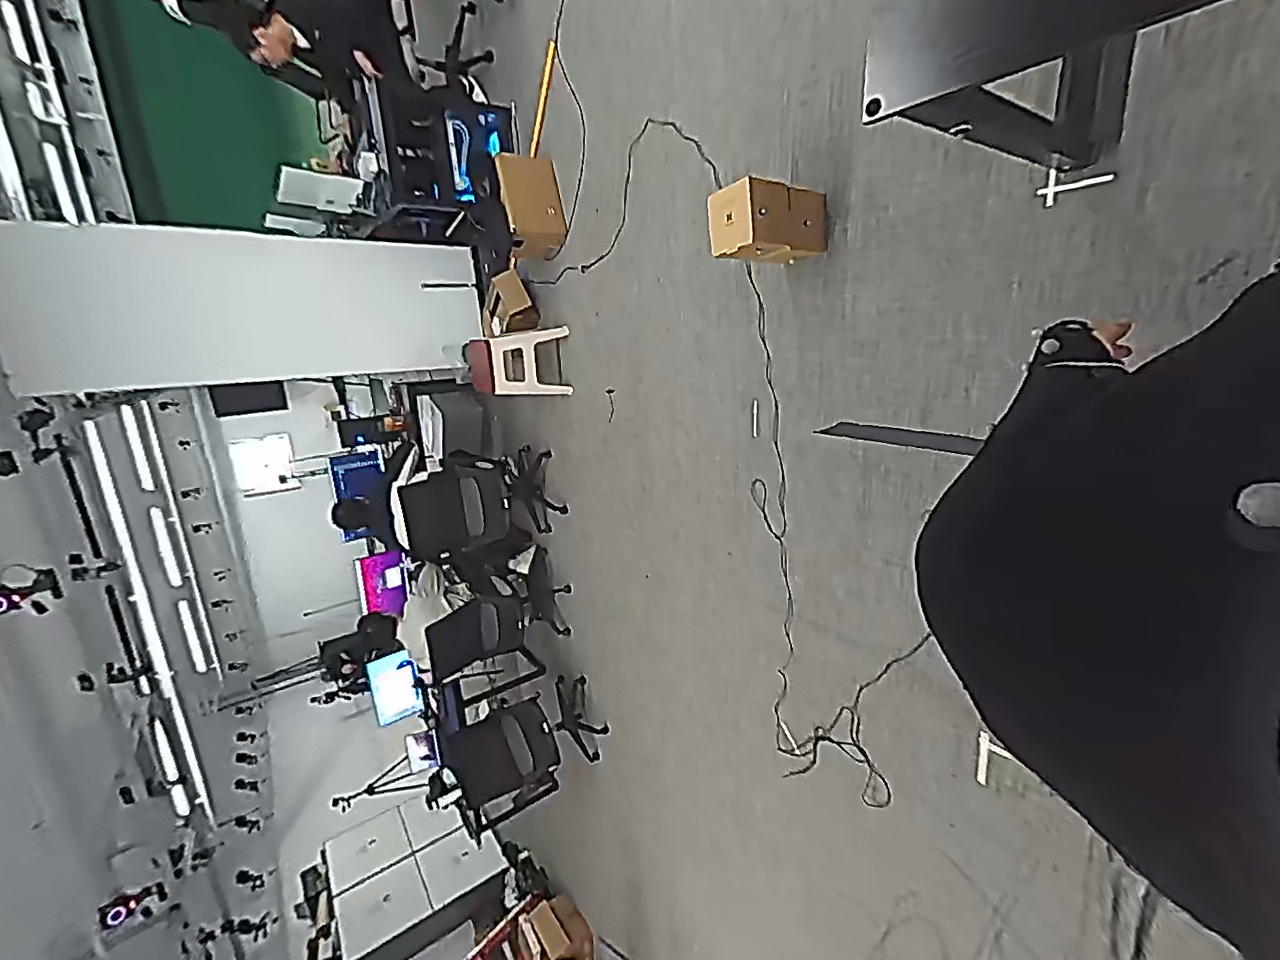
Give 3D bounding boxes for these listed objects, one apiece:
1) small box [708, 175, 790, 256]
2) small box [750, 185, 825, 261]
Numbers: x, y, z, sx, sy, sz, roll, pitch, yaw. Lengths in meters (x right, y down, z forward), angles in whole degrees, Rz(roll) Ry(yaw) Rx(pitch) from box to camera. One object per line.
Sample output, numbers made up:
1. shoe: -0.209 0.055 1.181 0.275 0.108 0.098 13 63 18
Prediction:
1. small box: 0.322 -0.763 1.582 0.168 0.176 0.179 7 105 54
2. small box: 0.455 -0.787 1.672 0.168 0.176 0.179 12 111 54
